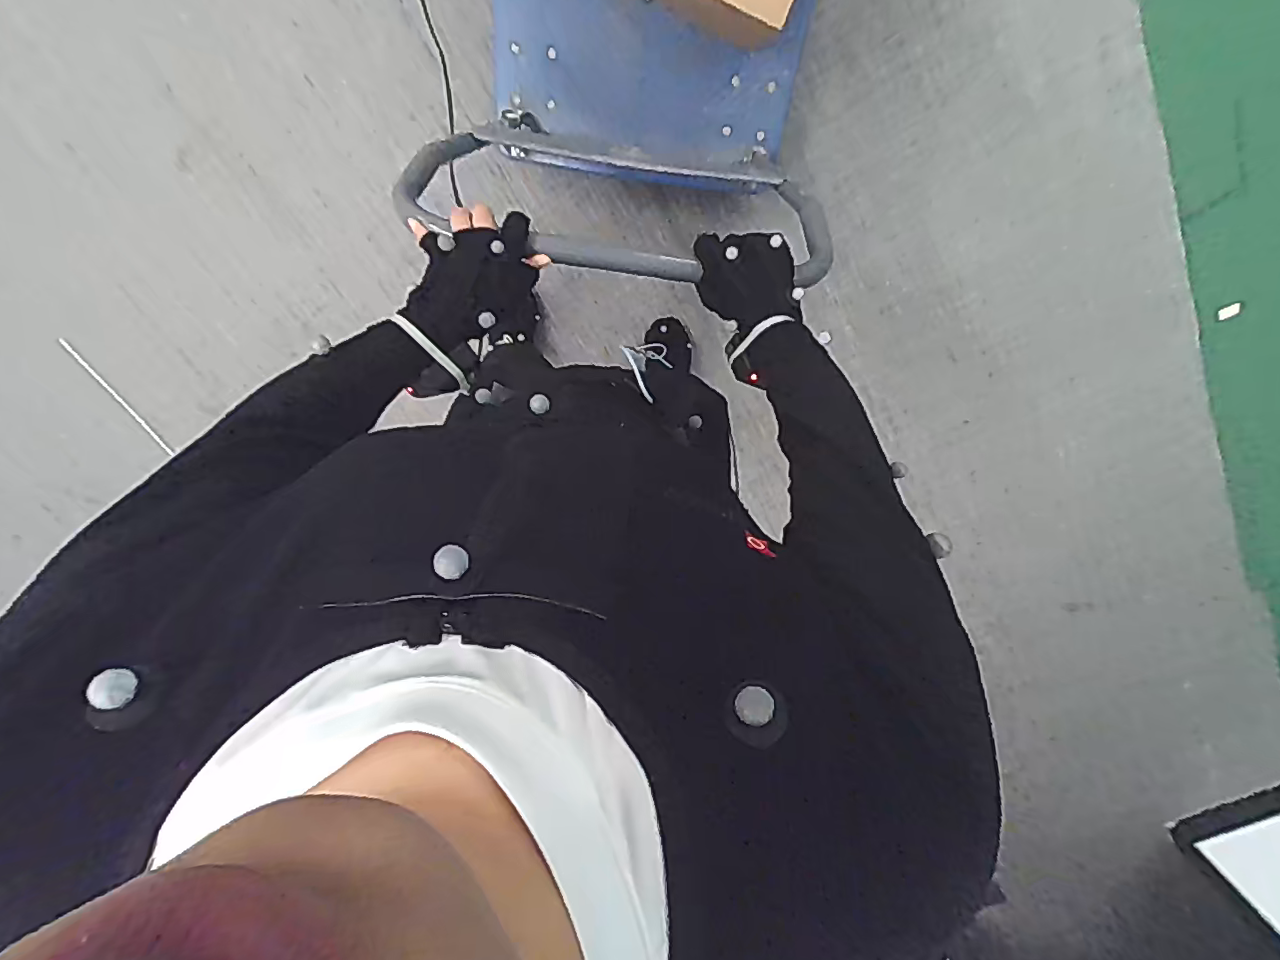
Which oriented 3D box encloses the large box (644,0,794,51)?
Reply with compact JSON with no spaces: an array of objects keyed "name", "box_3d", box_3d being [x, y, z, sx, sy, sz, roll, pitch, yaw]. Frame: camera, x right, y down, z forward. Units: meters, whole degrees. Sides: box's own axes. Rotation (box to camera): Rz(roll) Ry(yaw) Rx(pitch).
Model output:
[{"name":"large box","box_3d":[0.074,-0.890,0.778,0.408,0.320,0.320,20,122,-10]}]
